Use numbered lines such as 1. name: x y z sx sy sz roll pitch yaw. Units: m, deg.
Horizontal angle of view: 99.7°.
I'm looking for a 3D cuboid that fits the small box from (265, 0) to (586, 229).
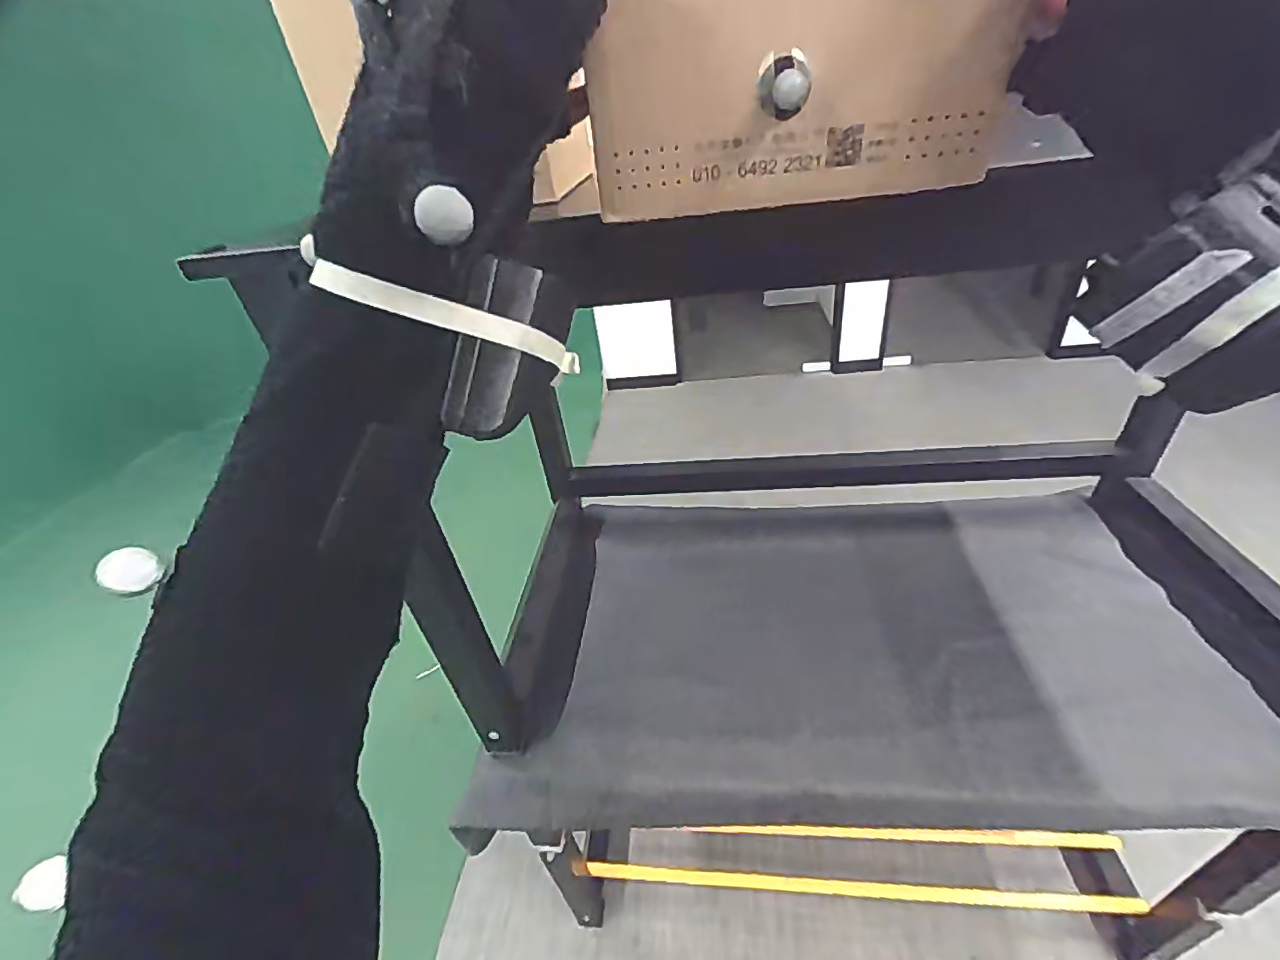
1. small box: -0.147 -0.312 0.444 0.168 0.176 0.179 -2 35 8
